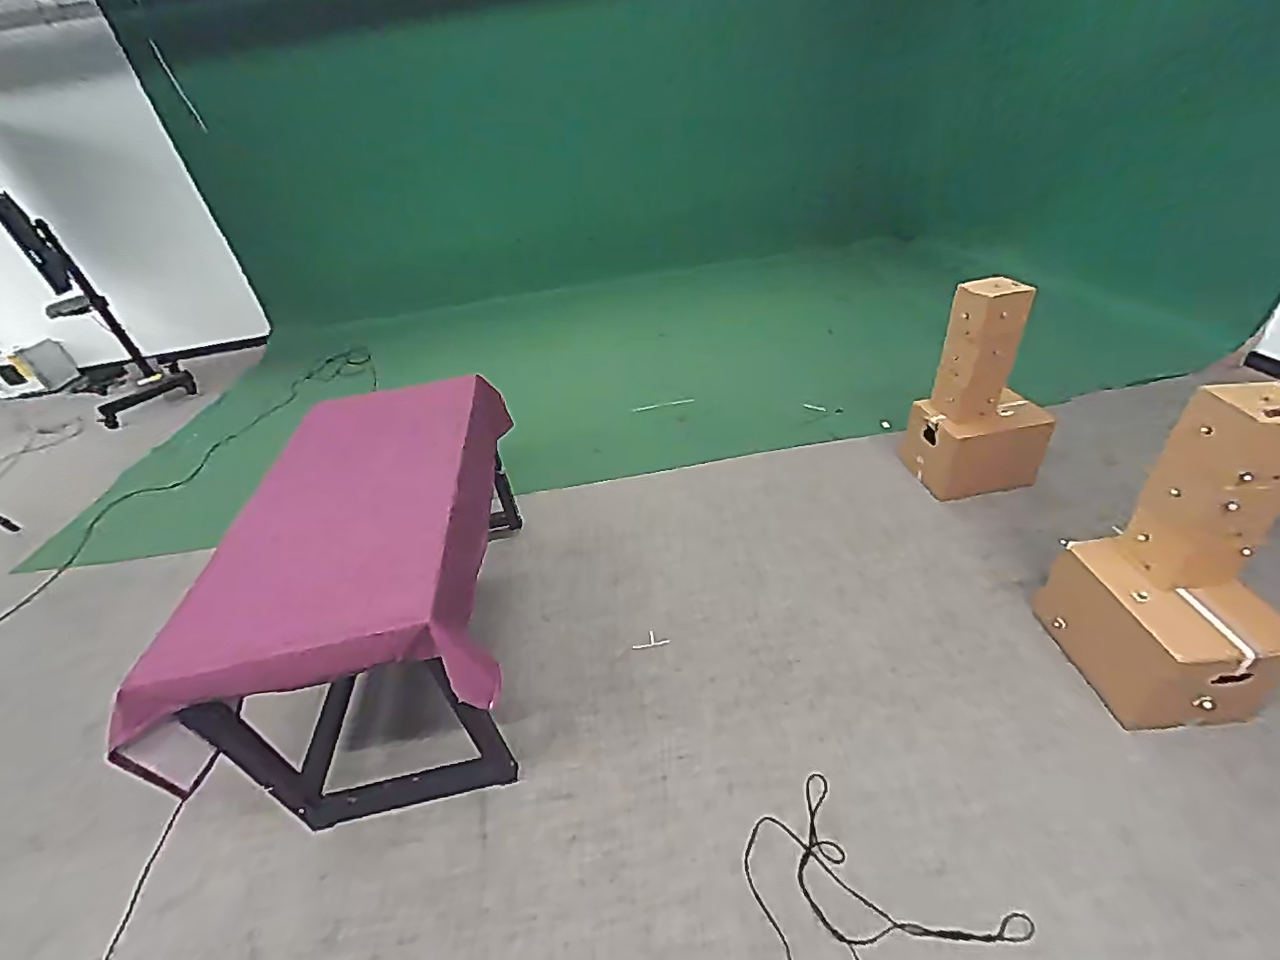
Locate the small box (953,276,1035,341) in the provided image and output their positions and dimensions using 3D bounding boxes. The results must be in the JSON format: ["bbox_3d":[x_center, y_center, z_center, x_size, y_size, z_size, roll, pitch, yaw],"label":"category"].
[{"bbox_3d":[1.253,-0.609,1.931,0.179,0.176,0.168,-12,36,-4],"label":"small box"}]

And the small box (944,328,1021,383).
[{"bbox_3d":[1.274,-0.478,2.029,0.179,0.176,0.168,-12,37,-7],"label":"small box"}]

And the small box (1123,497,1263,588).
[{"bbox_3d":[1.416,0.166,1.407,0.179,0.176,0.168,-5,37,2],"label":"small box"}]

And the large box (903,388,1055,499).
[{"bbox_3d":[1.387,-0.154,2.258,0.408,0.320,0.320,-9,36,-2],"label":"large box"}]

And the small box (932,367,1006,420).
[{"bbox_3d":[1.286,-0.346,2.126,0.168,0.176,0.179,-10,35,-3],"label":"small box"}]

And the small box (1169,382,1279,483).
[{"bbox_3d":[1.375,-0.102,1.221,0.168,0.176,0.179,-2,35,6],"label":"small box"}]
